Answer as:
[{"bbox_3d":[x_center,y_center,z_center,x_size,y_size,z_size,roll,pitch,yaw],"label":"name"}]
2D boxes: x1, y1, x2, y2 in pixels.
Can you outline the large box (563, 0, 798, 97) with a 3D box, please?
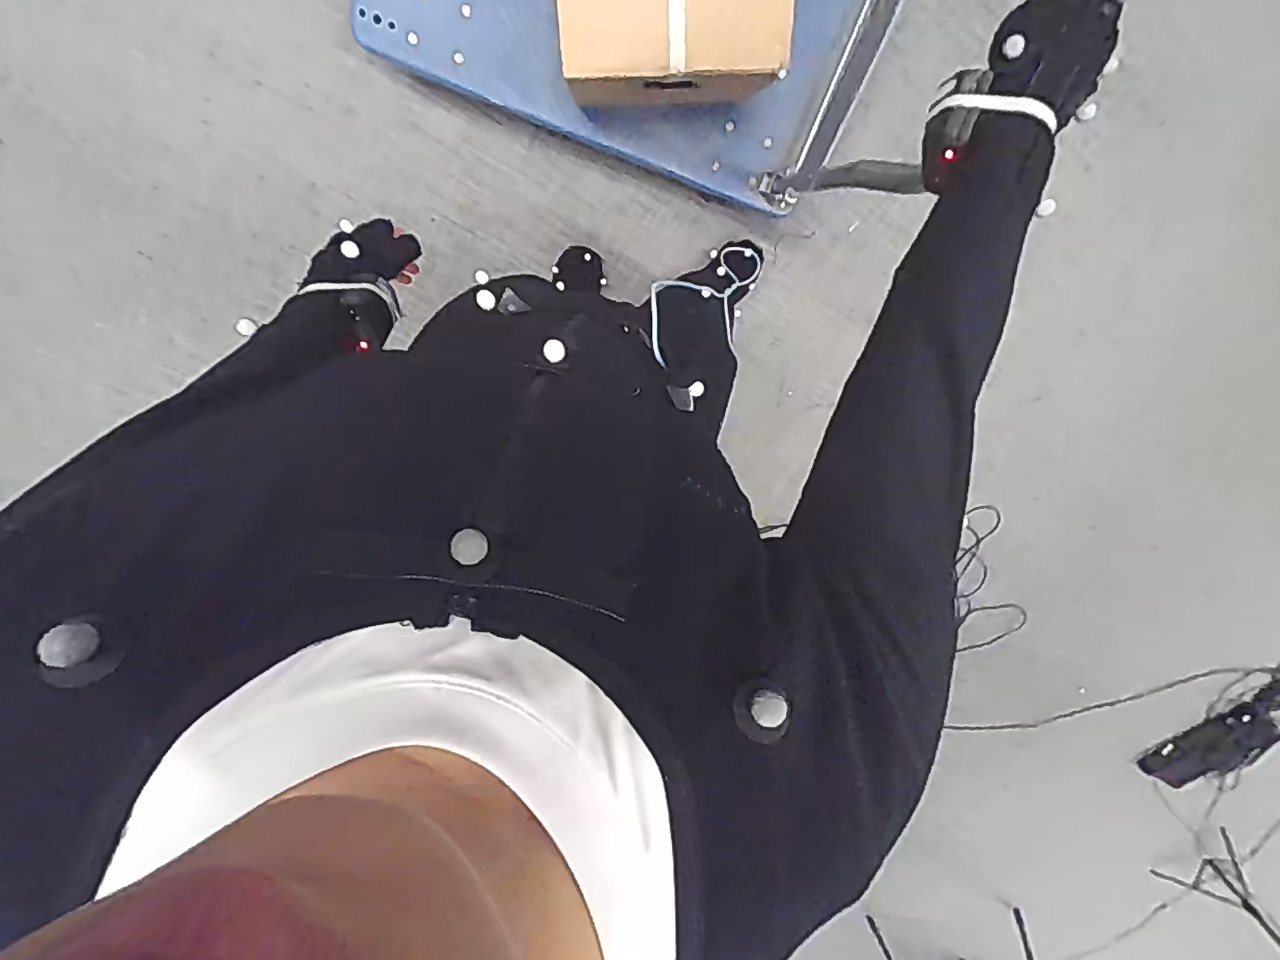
[{"bbox_3d":[0.042,-0.809,0.770,0.320,0.320,0.408,-3,120,-1],"label":"large box"}]
